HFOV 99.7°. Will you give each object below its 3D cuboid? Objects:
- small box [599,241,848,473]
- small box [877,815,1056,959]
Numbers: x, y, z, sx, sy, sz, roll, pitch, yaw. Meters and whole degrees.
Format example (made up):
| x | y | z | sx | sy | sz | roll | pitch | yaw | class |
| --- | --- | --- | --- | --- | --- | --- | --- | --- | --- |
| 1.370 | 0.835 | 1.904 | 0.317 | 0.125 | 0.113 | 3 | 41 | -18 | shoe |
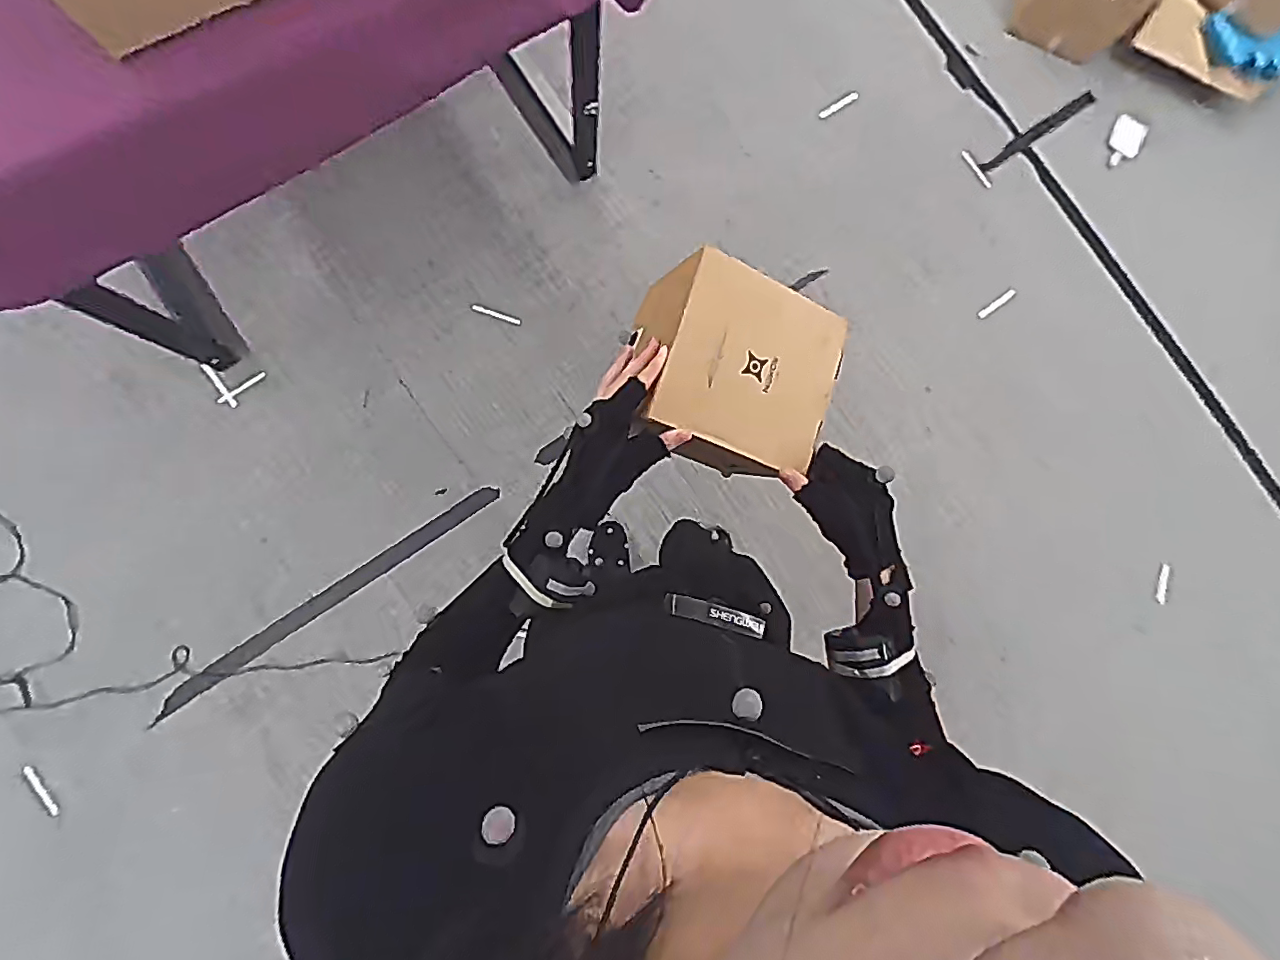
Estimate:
| x | y | z | sx | sy | sz | roll | pitch | yaw | class |
| --- | --- | --- | --- | --- | --- | --- | --- | --- | --- |
| 0.077 | -0.113 | 0.569 | 0.179 | 0.176 | 0.168 | 18 | 86 | -19 | small box |
| 0.564 | 0.748 | 0.958 | 0.179 | 0.176 | 0.168 | -42 | 92 | -9 | small box |
